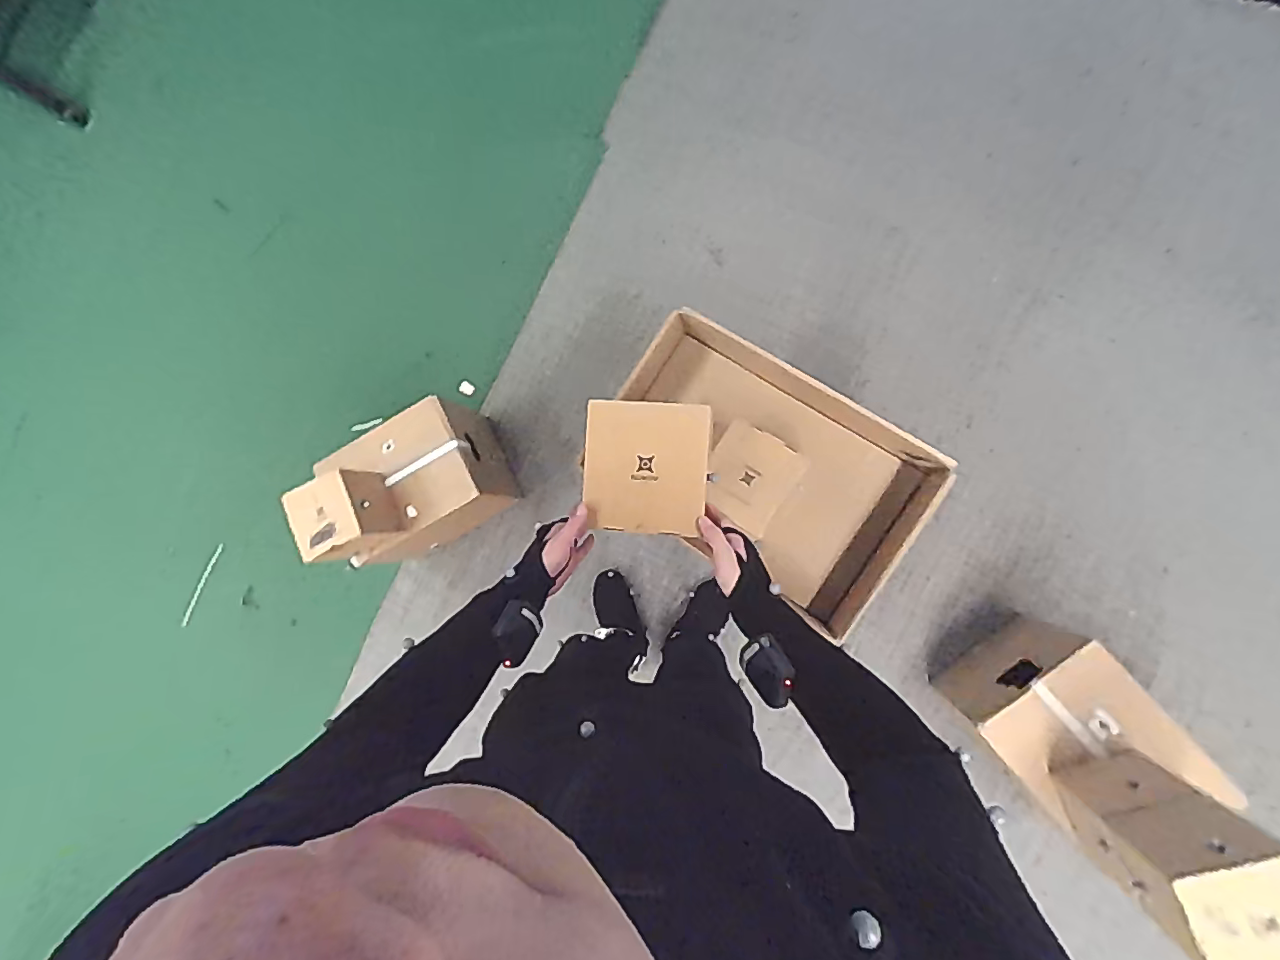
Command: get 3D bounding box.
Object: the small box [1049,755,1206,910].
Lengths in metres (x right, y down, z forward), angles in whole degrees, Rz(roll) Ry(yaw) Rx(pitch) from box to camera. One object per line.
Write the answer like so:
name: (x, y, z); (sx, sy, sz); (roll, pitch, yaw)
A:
small box: (0.932, 0.648, 1.017); (0.179, 0.176, 0.168); (-21, 83, 9)

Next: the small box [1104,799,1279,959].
small box: (0.904, 0.640, 0.853); (0.179, 0.176, 0.168); (-22, 82, 10)

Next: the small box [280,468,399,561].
small box: (-0.735, 0.085, 1.341); (0.168, 0.176, 0.179); (-25, 82, 7)

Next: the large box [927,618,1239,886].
large box: (0.978, 0.595, 1.262); (0.320, 0.320, 0.408); (-40, 79, 4)

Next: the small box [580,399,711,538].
small box: (0.013, -0.019, 0.787); (0.168, 0.176, 0.179); (3, 93, 6)
